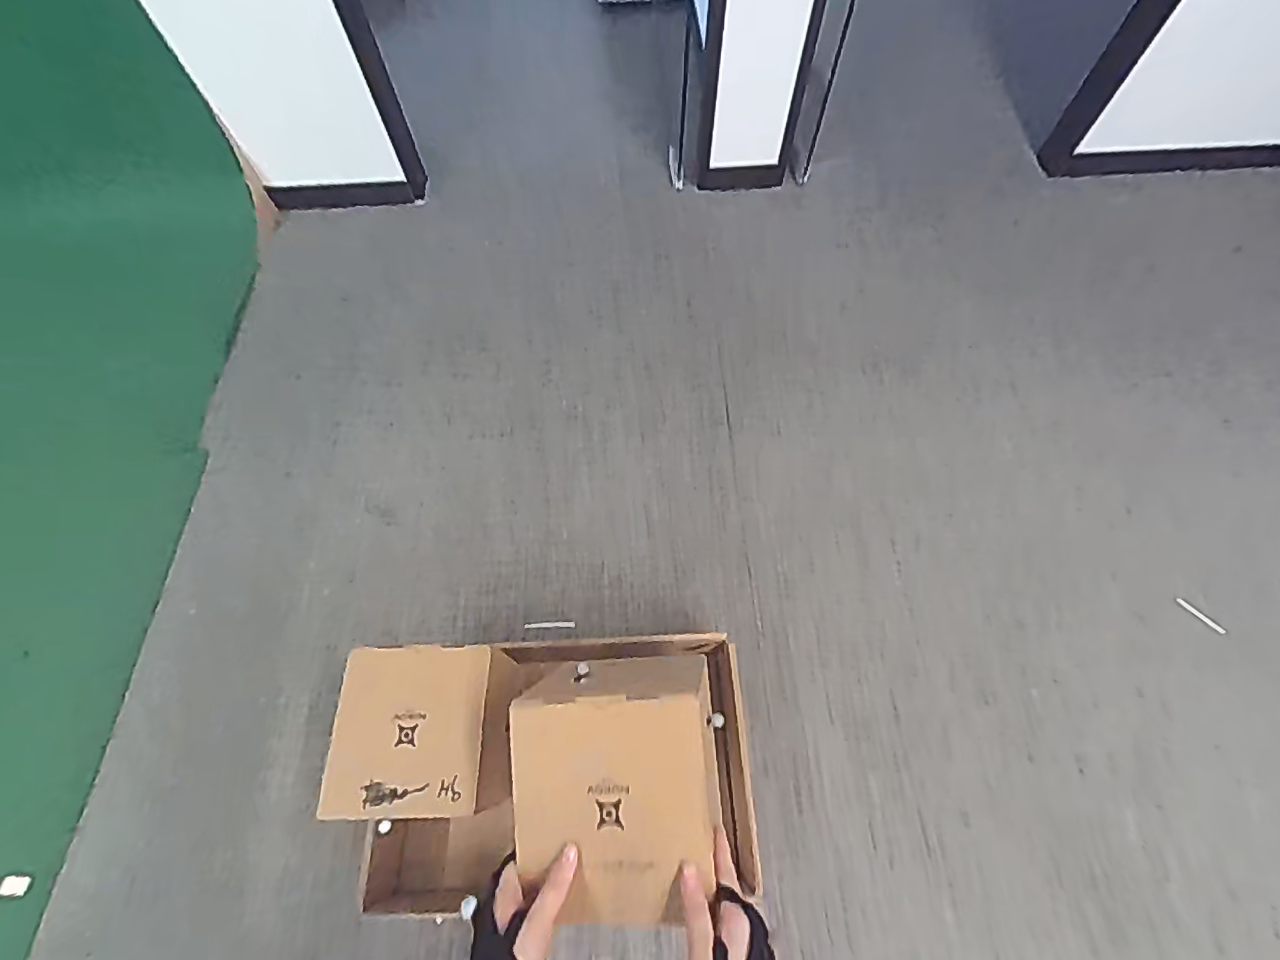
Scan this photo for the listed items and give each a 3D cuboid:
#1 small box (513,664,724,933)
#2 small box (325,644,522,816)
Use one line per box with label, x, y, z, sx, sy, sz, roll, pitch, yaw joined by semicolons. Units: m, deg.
small box;-0.010;0.280;0.517;0.168;0.176;0.179;-6;83;9
small box;-0.248;0.310;0.672;0.168;0.176;0.179;-1;63;0
